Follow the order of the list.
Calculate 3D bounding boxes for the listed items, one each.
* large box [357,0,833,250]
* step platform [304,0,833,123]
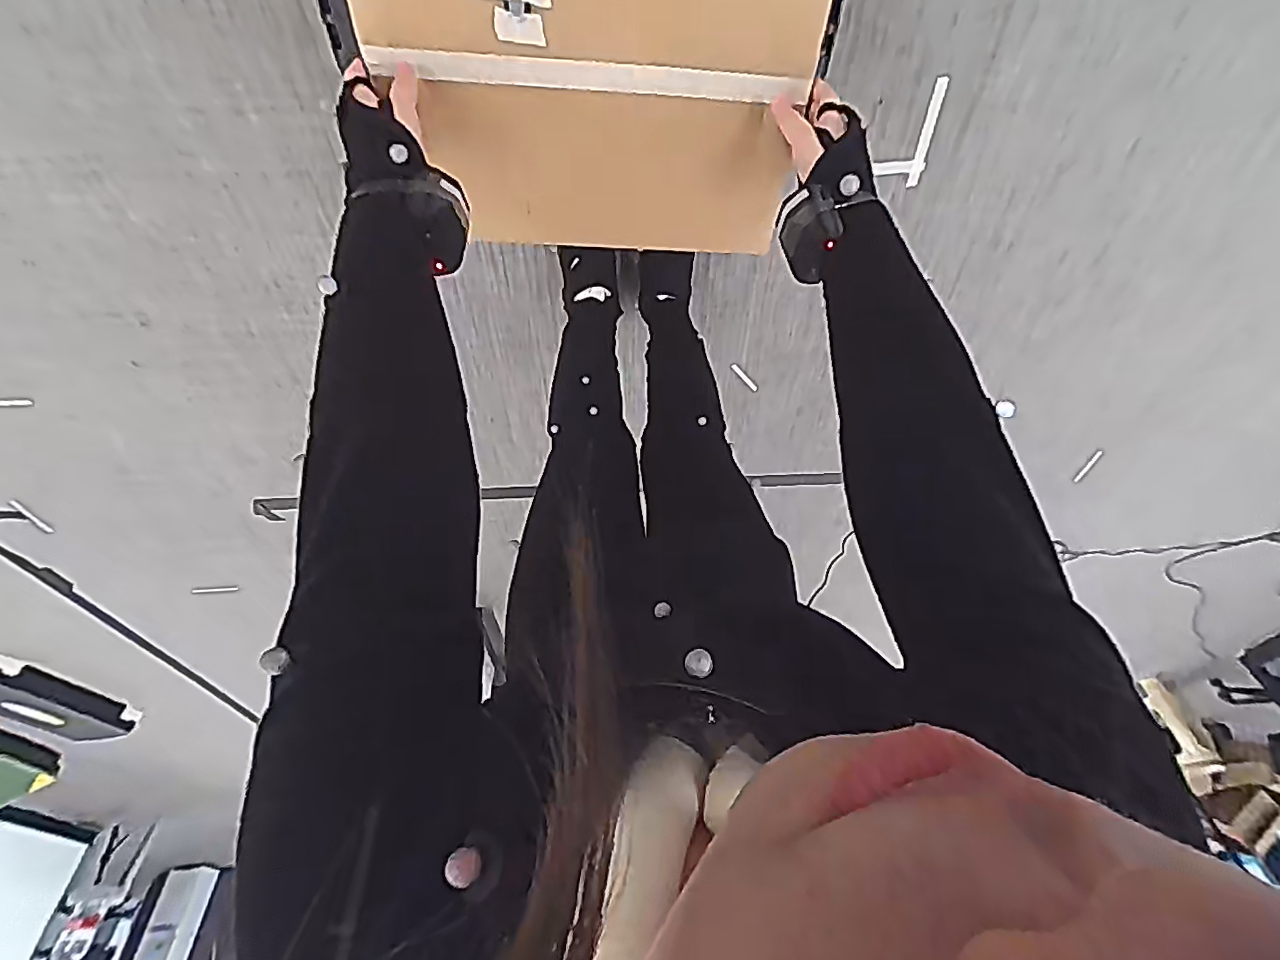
[{"bbox_3d":[-0.043,-0.474,0.586,0.408,0.320,0.320,1,136,-5],"label":"large box"},{"bbox_3d":[-0.087,-0.644,0.751,0.684,0.204,0.286,2,136,-7],"label":"step platform"}]
